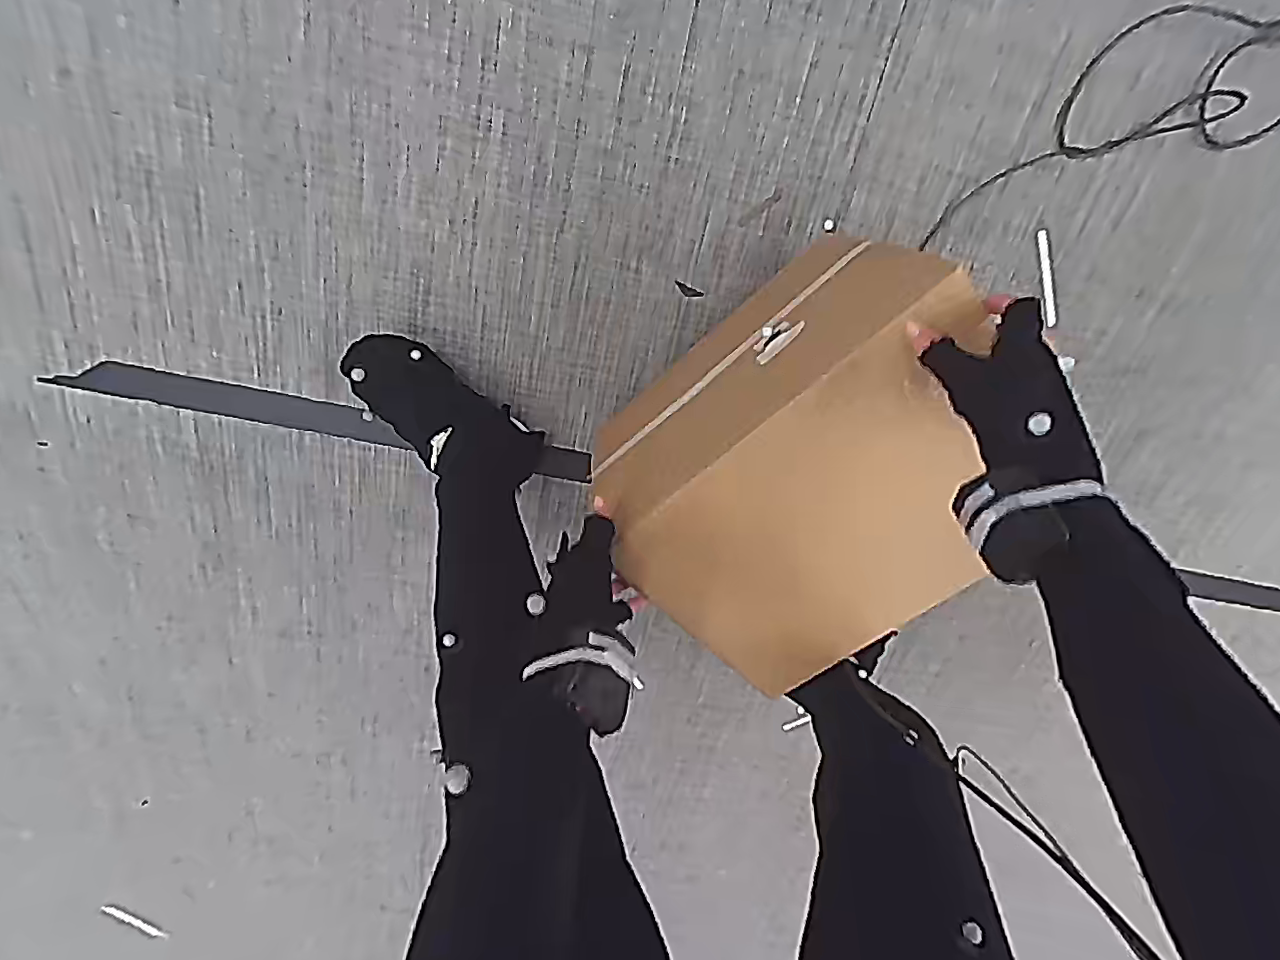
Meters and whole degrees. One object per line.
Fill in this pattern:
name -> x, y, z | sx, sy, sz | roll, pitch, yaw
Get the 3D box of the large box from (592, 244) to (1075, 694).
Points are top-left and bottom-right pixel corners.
large box -> 0.192, -0.018, 0.677 | 0.408, 0.320, 0.320 | -39, 113, 18
